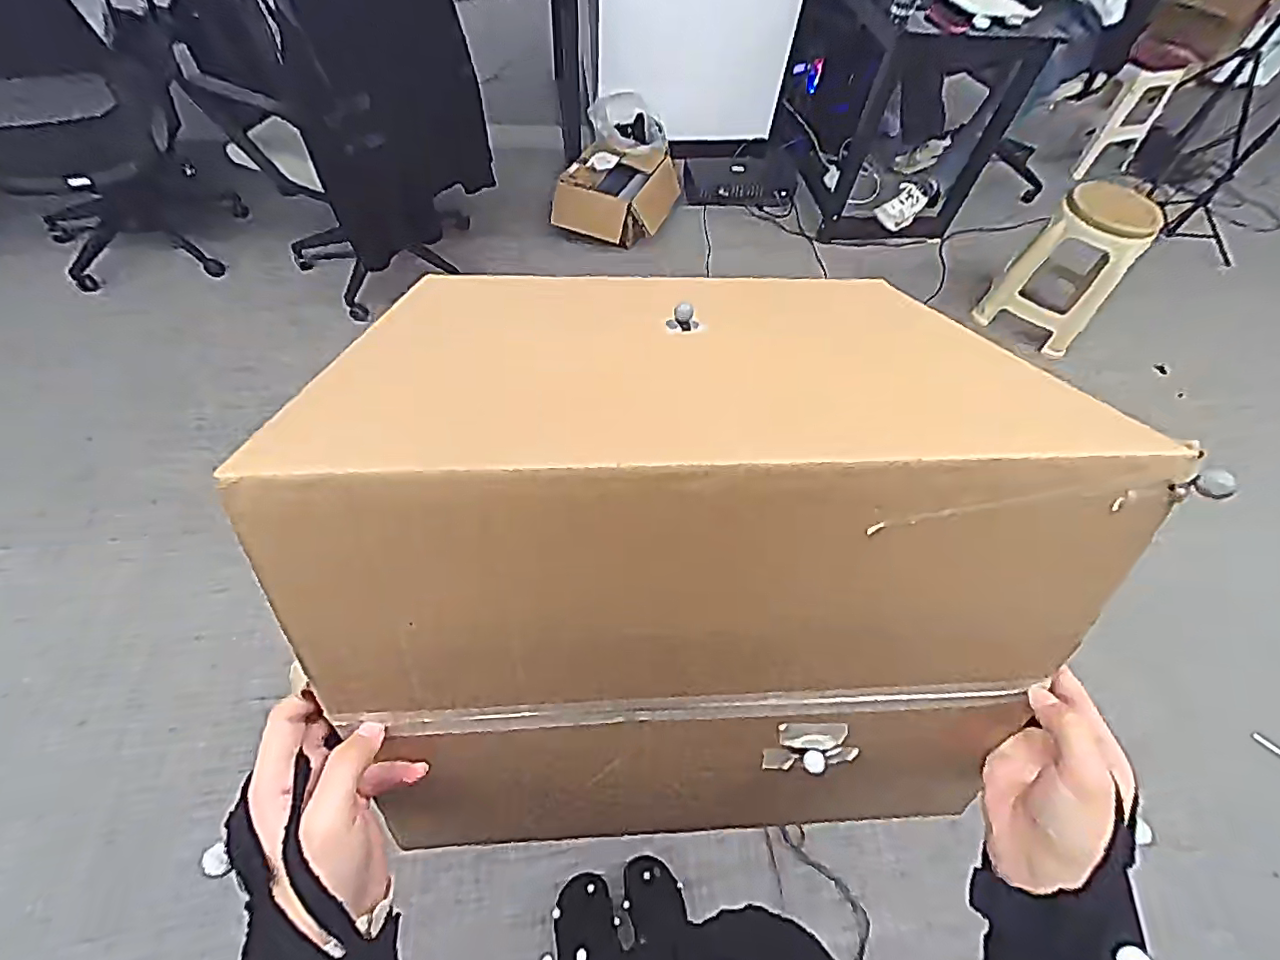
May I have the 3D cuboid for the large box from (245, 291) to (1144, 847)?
[{"bbox_3d":[0.020,0.043,0.438,0.408,0.320,0.320,-2,35,-4],"label":"large box"}]
